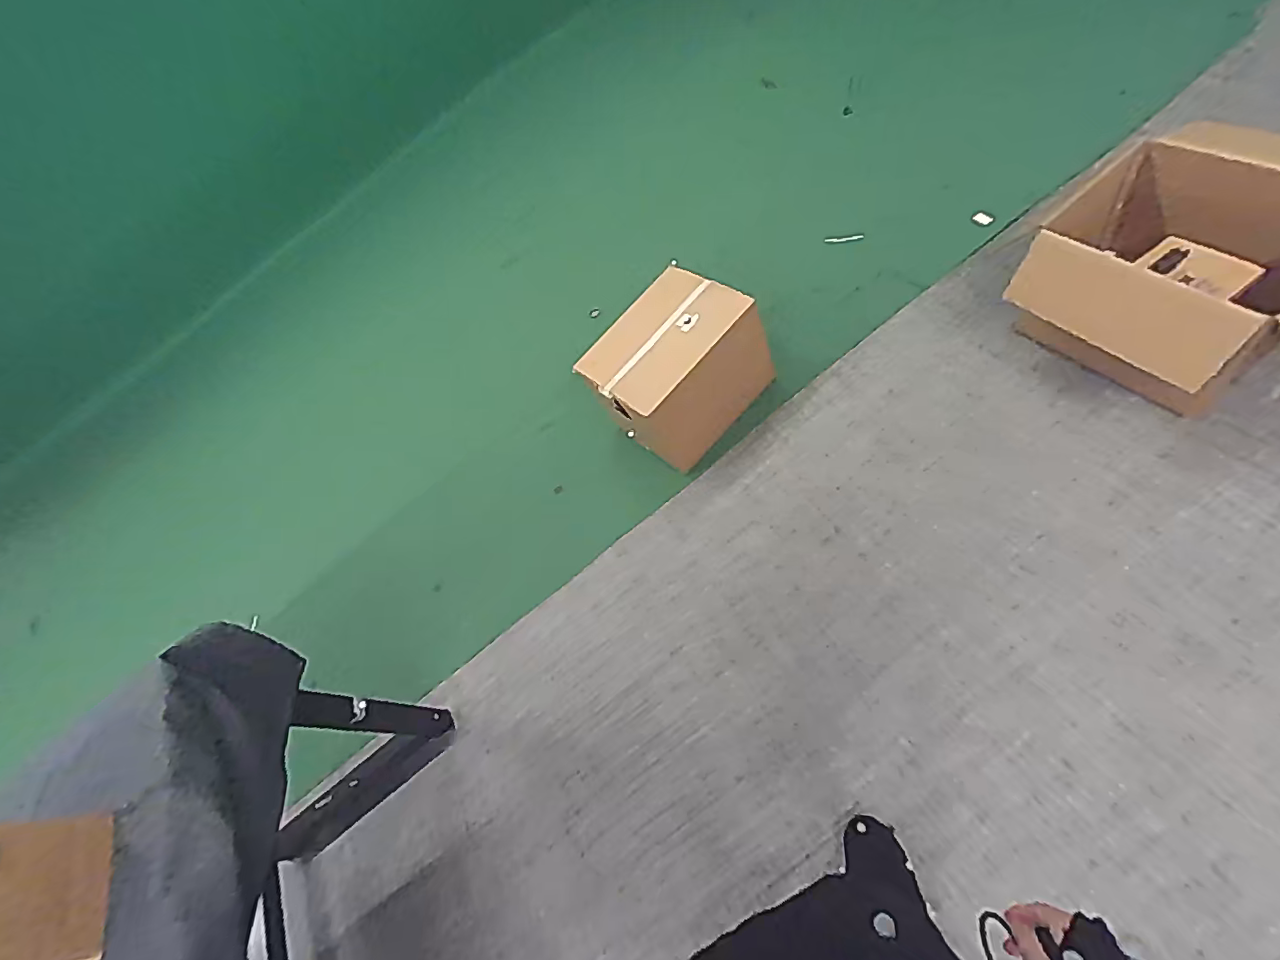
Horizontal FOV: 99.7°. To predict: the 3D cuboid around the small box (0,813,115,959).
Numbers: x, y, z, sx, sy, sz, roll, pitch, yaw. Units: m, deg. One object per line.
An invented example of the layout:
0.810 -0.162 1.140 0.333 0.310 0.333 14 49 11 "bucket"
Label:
-0.799 0.541 0.661 0.168 0.176 0.179 -37 55 3 "small box"
